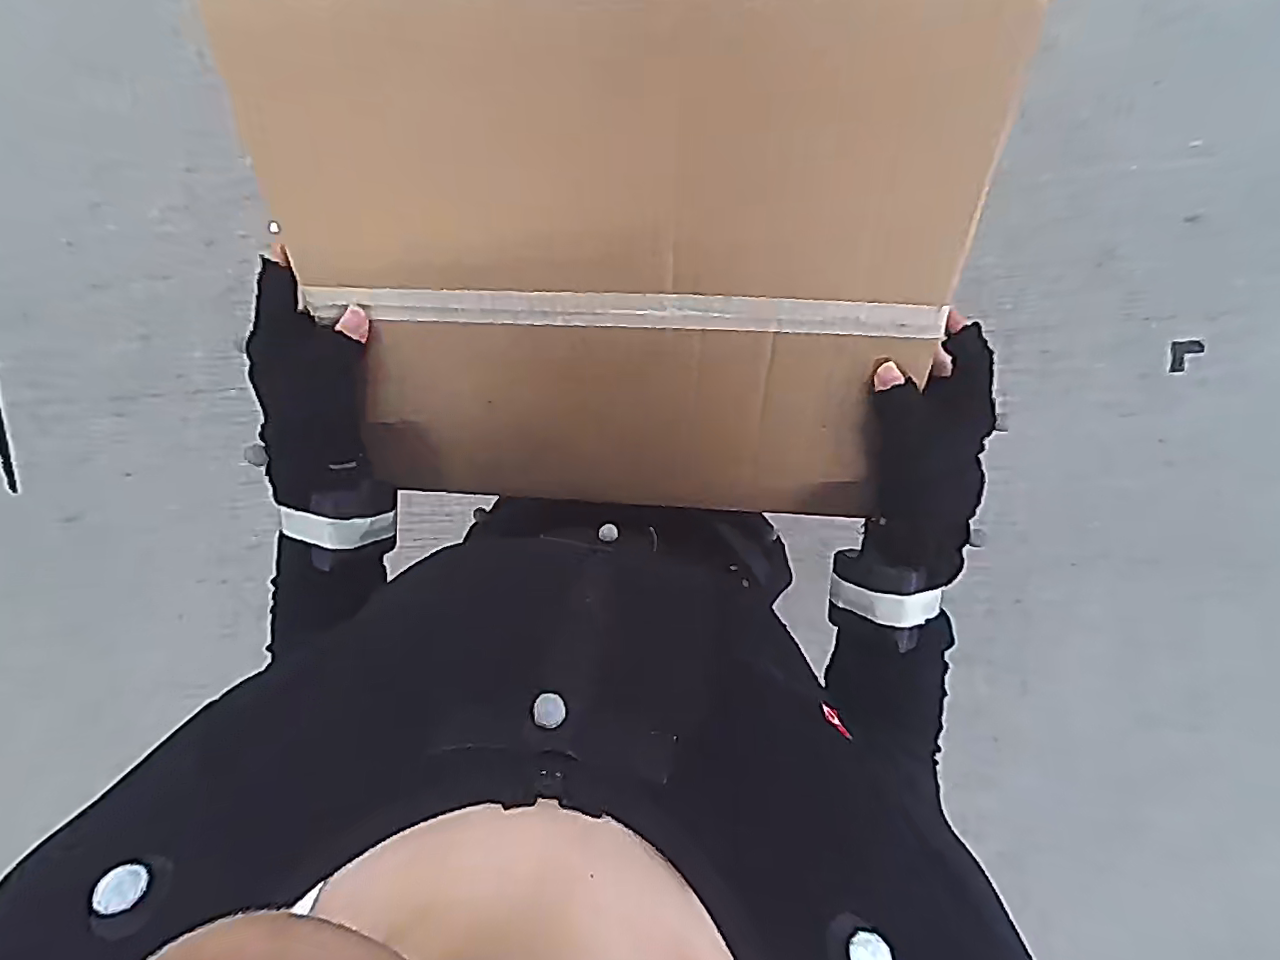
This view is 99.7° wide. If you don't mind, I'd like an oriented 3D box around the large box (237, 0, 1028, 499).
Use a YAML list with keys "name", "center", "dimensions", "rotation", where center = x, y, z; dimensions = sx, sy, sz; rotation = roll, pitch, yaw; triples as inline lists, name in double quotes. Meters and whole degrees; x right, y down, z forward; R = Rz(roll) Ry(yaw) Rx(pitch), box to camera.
- name: "large box"
  center: [-0.003, -0.205, 0.472]
  dimensions: [0.408, 0.320, 0.320]
  rotation: [4, 128, 4]
